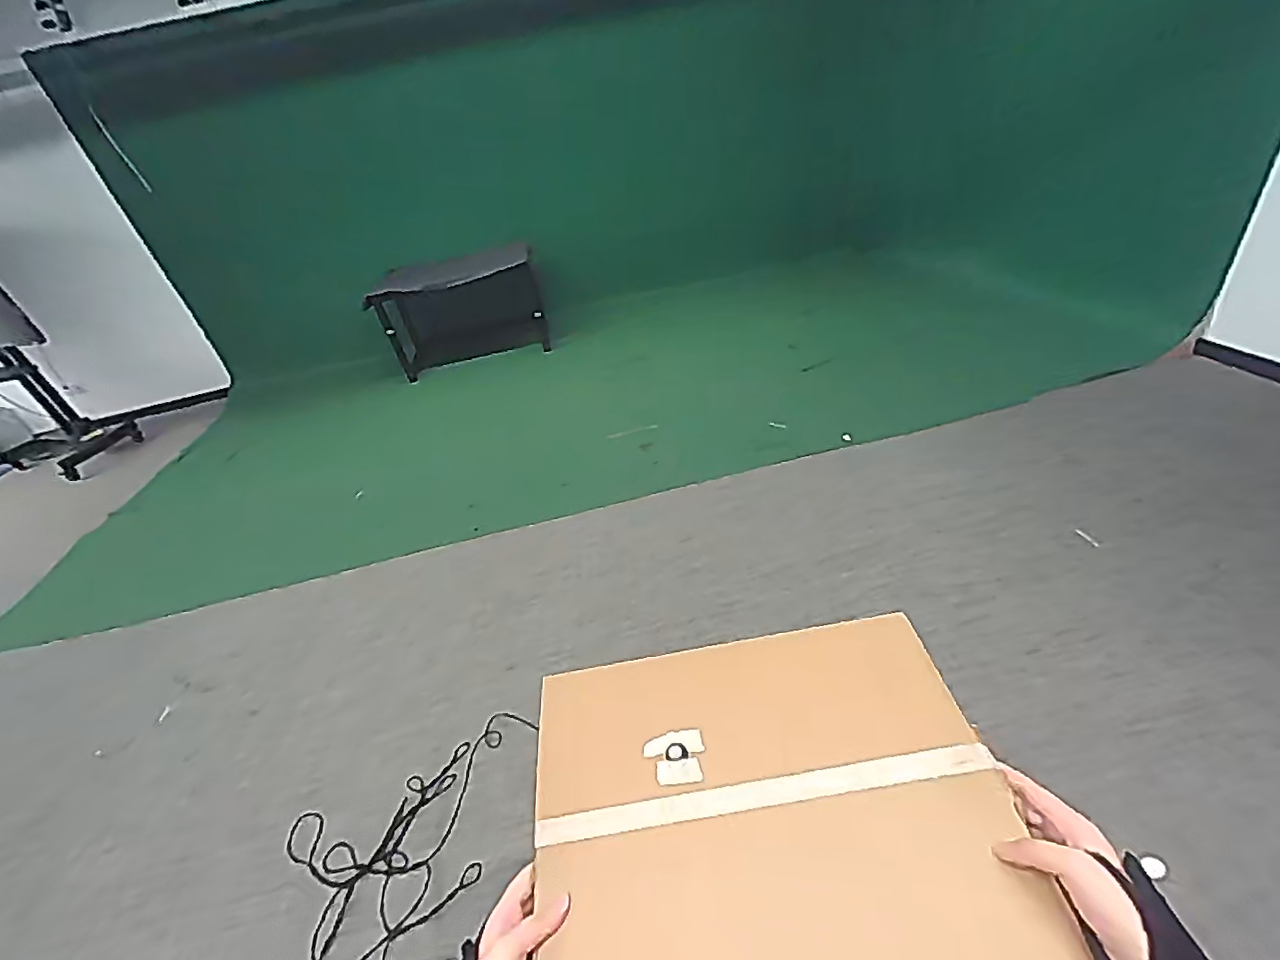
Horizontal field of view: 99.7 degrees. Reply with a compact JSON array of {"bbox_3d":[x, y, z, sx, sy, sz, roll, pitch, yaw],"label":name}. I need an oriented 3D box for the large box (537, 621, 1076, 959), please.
[{"bbox_3d":[0.132,0.403,0.586,0.408,0.320,0.320,-12,40,3],"label":"large box"}]
